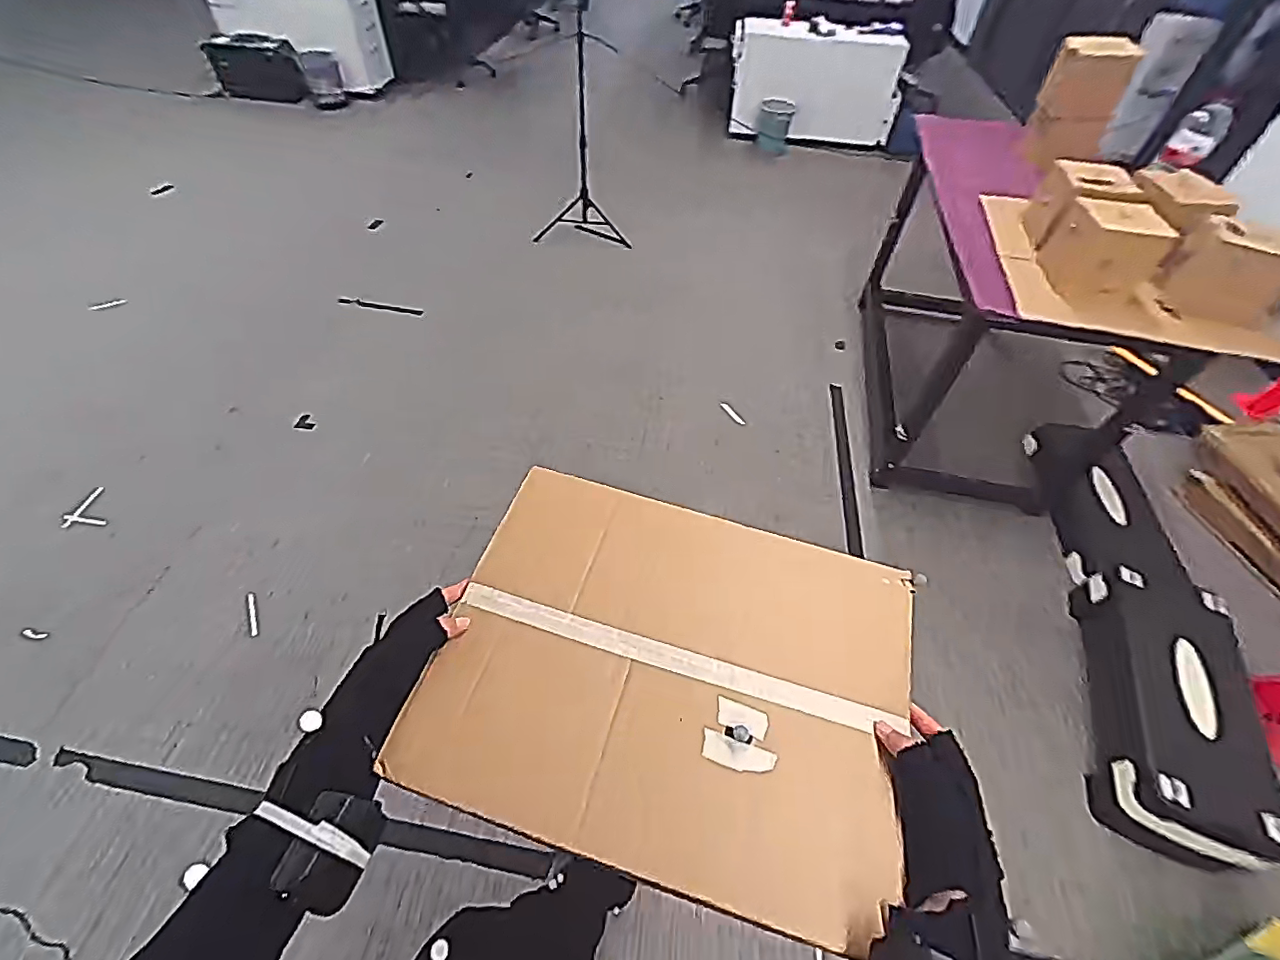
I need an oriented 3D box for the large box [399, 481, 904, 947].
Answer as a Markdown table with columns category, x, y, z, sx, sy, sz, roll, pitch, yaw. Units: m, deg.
| category | x | y | z | sx | sy | sz | roll | pitch | yaw |
| --- | --- | --- | --- | --- | --- | --- | --- | --- | --- |
| large box | 0.027 | 0.252 | 0.612 | 0.408 | 0.320 | 0.320 | 16 | 56 | 8 |
